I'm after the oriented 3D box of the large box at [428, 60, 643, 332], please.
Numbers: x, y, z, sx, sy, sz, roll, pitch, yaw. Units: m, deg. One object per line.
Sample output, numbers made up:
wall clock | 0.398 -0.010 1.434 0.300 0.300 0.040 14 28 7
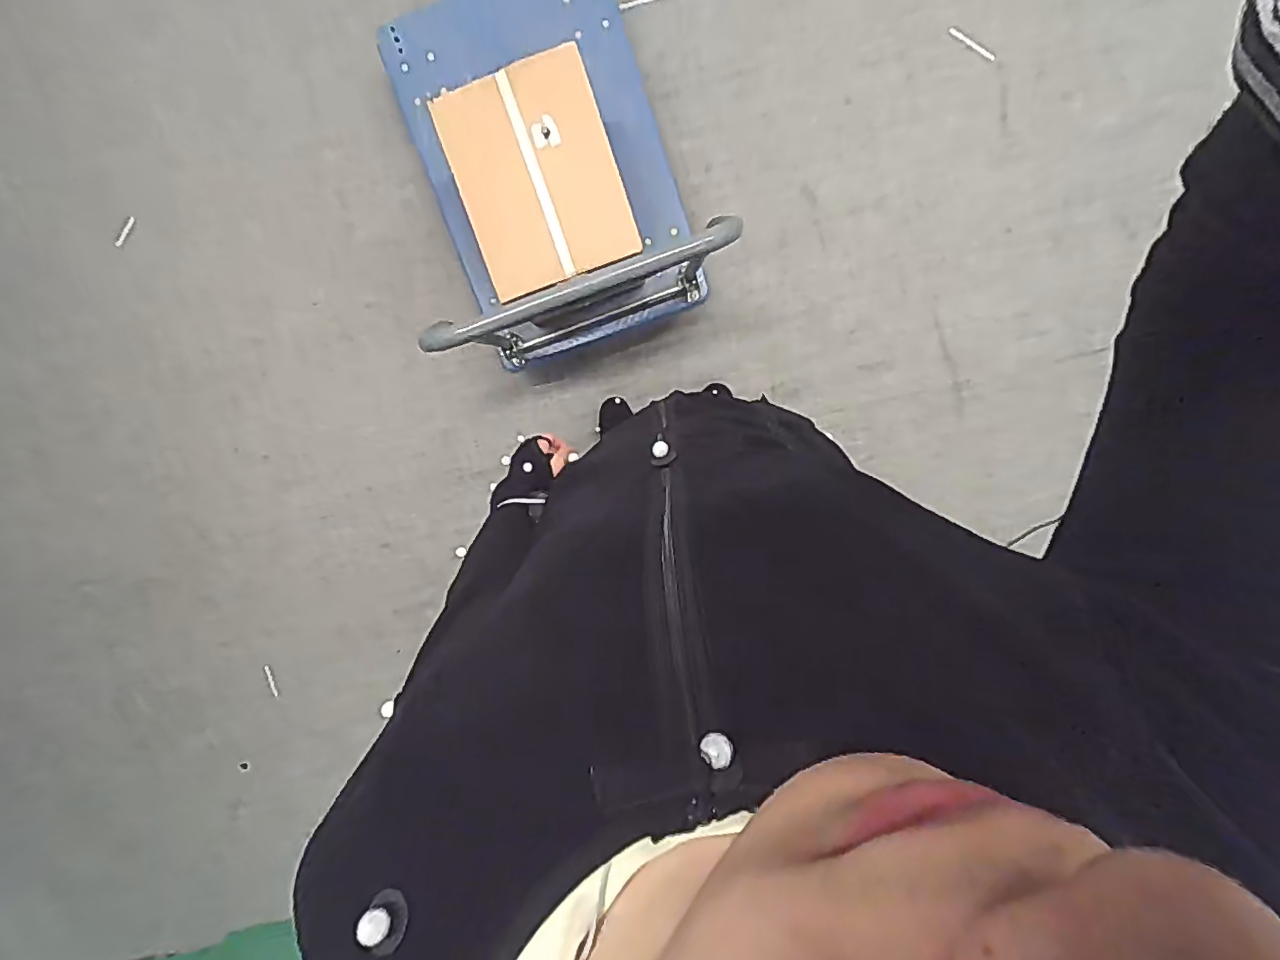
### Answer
large box | -0.204 -0.597 1.222 0.320 0.320 0.408 -19 96 3
